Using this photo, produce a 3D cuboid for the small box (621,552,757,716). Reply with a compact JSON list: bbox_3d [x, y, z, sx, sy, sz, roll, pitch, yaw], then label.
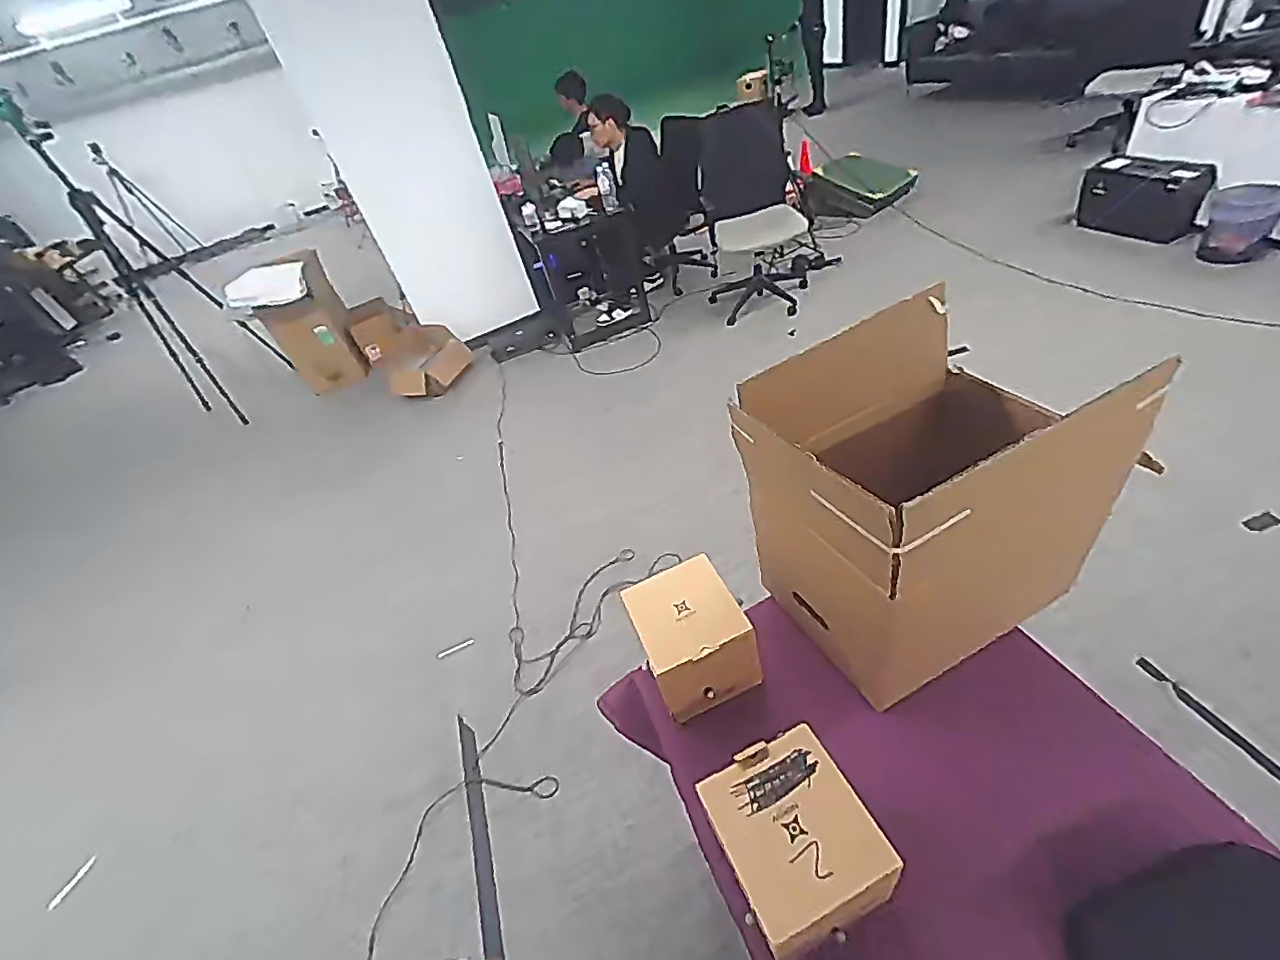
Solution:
[{"bbox_3d":[0.084,0.263,0.924,0.168,0.176,0.179,-23,42,-7],"label":"small box"}]
